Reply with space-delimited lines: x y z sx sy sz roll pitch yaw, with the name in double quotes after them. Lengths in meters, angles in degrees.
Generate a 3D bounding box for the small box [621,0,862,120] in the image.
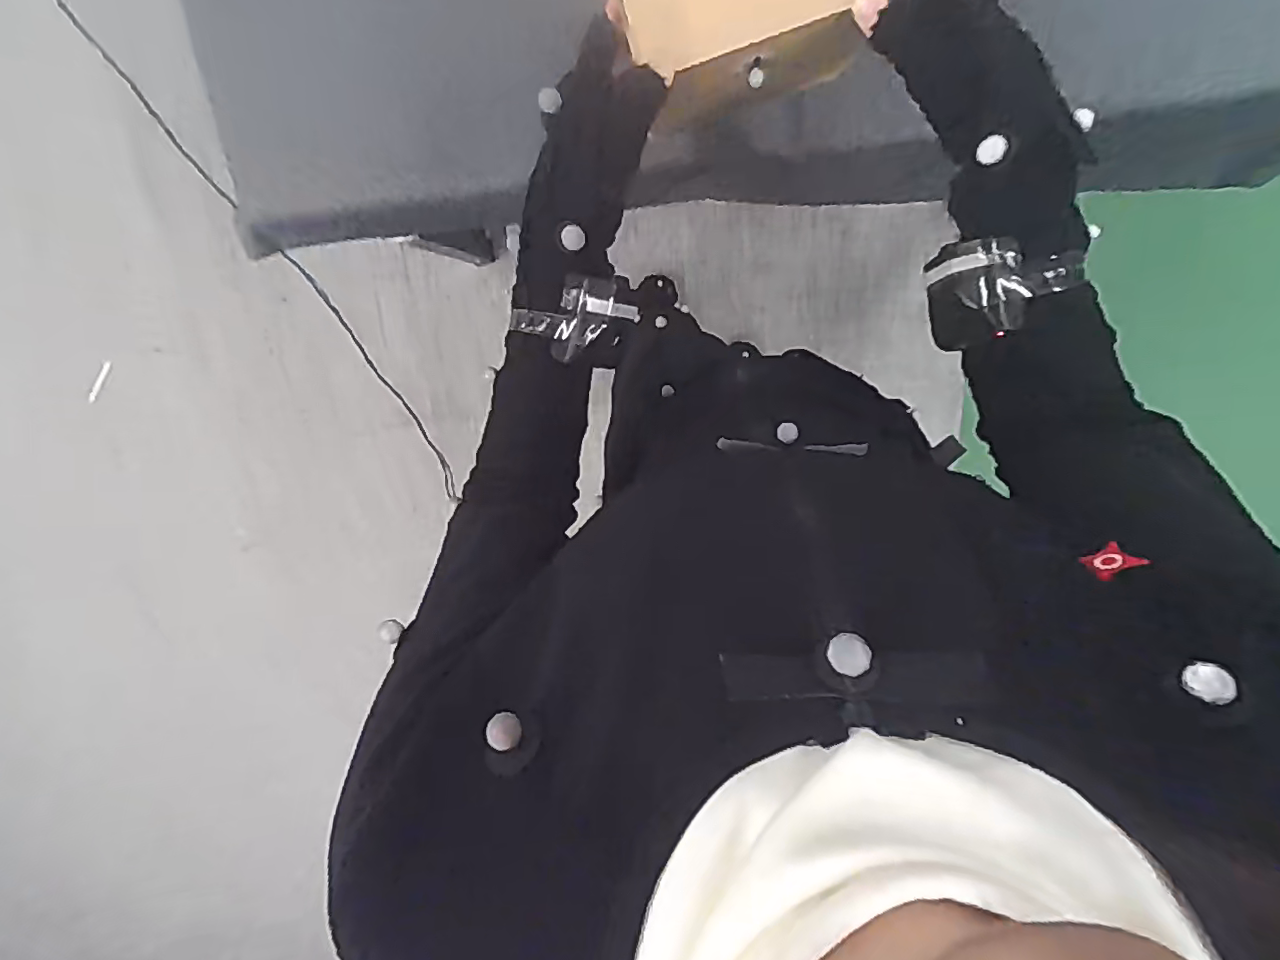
0.066 -0.404 0.405 0.179 0.176 0.168 -15 109 8 "small box"
